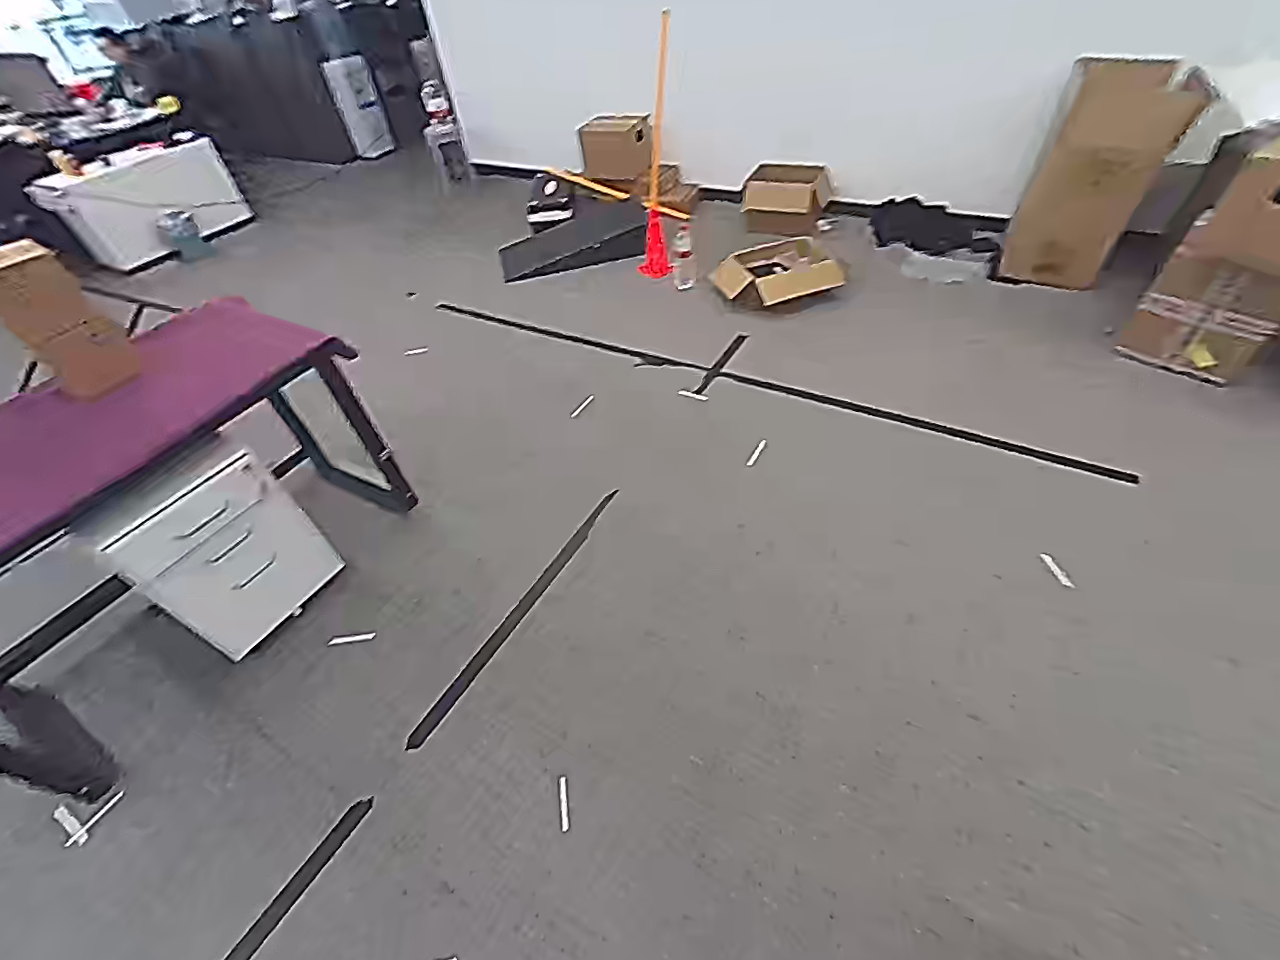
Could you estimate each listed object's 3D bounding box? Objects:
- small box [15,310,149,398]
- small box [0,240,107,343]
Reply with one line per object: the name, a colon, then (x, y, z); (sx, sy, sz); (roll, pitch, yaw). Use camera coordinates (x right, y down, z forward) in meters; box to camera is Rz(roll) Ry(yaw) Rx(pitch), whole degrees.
small box: (-1.490, -0.354, 1.461); (0.168, 0.176, 0.179); (24, 54, 26)
small box: (-1.506, -0.465, 1.342); (0.168, 0.176, 0.179); (25, 56, 26)
